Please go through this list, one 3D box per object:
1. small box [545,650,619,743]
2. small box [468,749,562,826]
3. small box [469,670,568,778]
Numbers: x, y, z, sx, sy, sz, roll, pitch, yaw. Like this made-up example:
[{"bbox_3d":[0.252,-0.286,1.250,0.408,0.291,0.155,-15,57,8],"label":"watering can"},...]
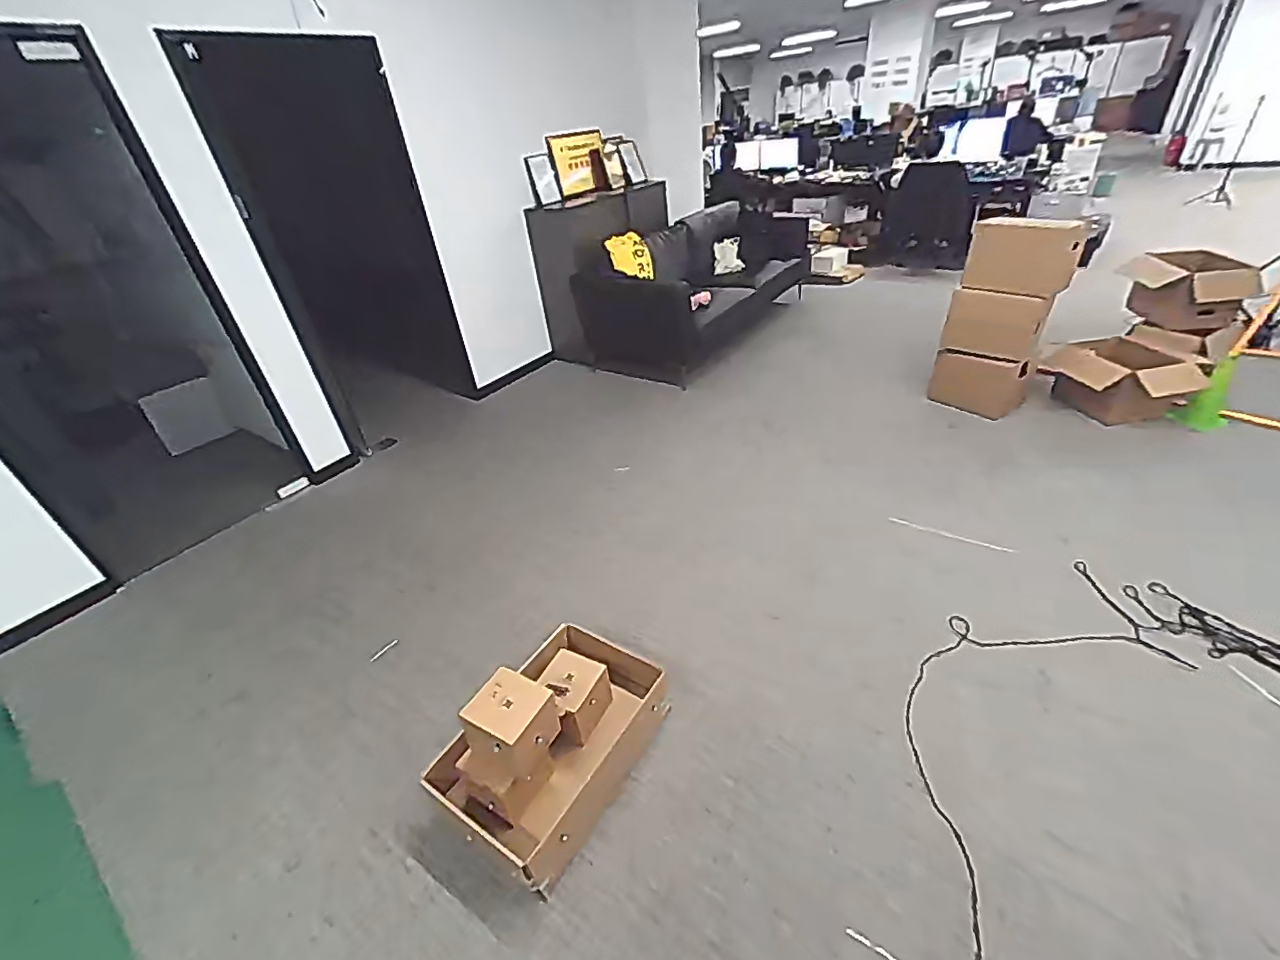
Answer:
[{"bbox_3d":[-0.177,0.658,1.639,0.168,0.176,0.179,12,39,26],"label":"small box"},{"bbox_3d":[-0.332,0.792,1.472,0.168,0.176,0.179,15,38,28],"label":"small box"},{"bbox_3d":[-0.306,0.636,1.406,0.179,0.176,0.168,14,37,27],"label":"small box"}]
